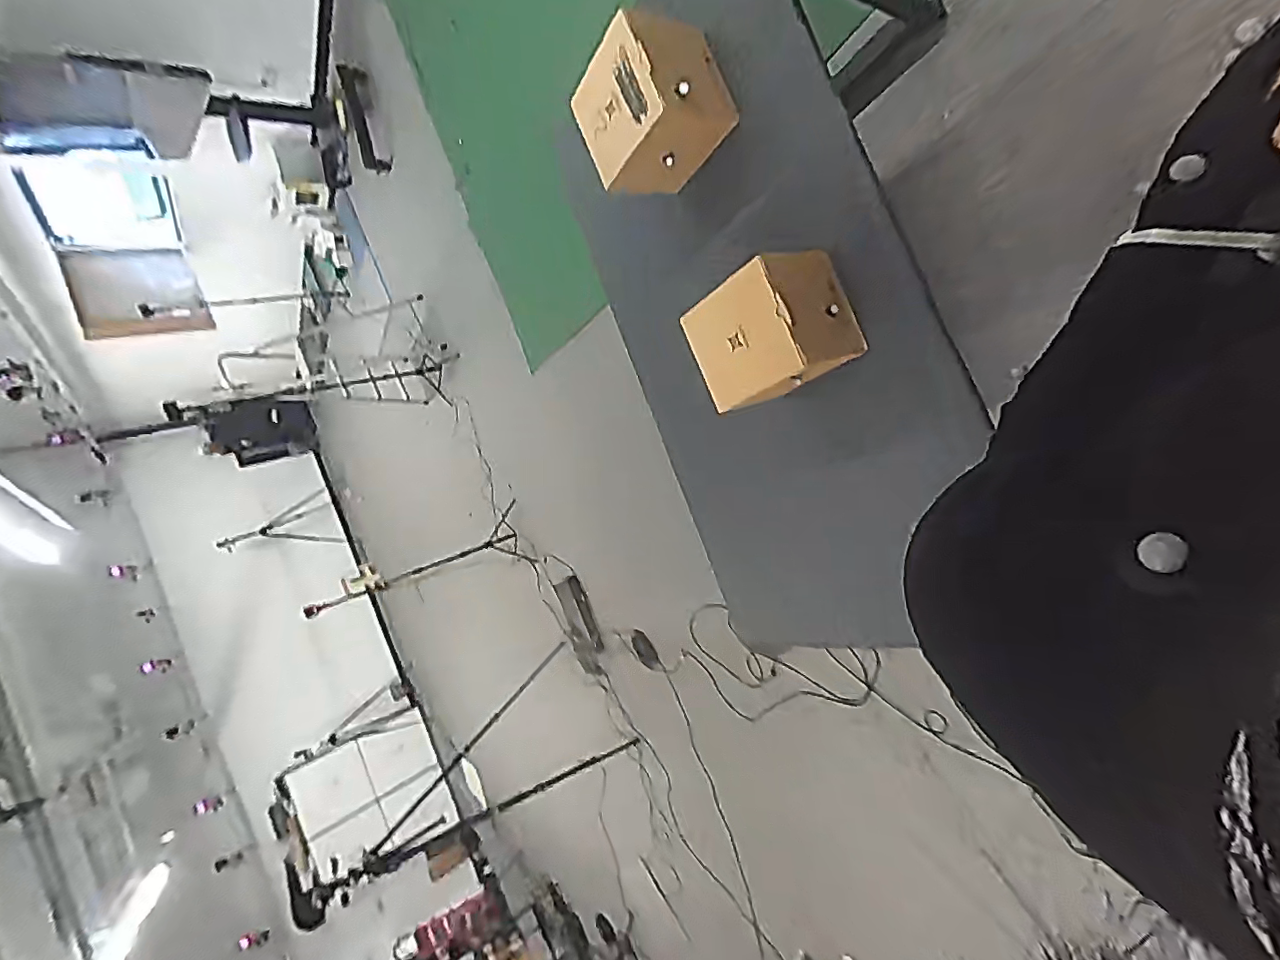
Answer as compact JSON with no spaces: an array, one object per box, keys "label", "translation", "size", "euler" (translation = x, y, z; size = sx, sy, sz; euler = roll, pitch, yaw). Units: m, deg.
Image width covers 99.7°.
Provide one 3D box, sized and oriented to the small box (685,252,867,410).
[{"label":"small box","translation":[0.207,-0.225,0.829],"size":[0.179,0.176,0.168],"euler":[-28,84,53]}]
